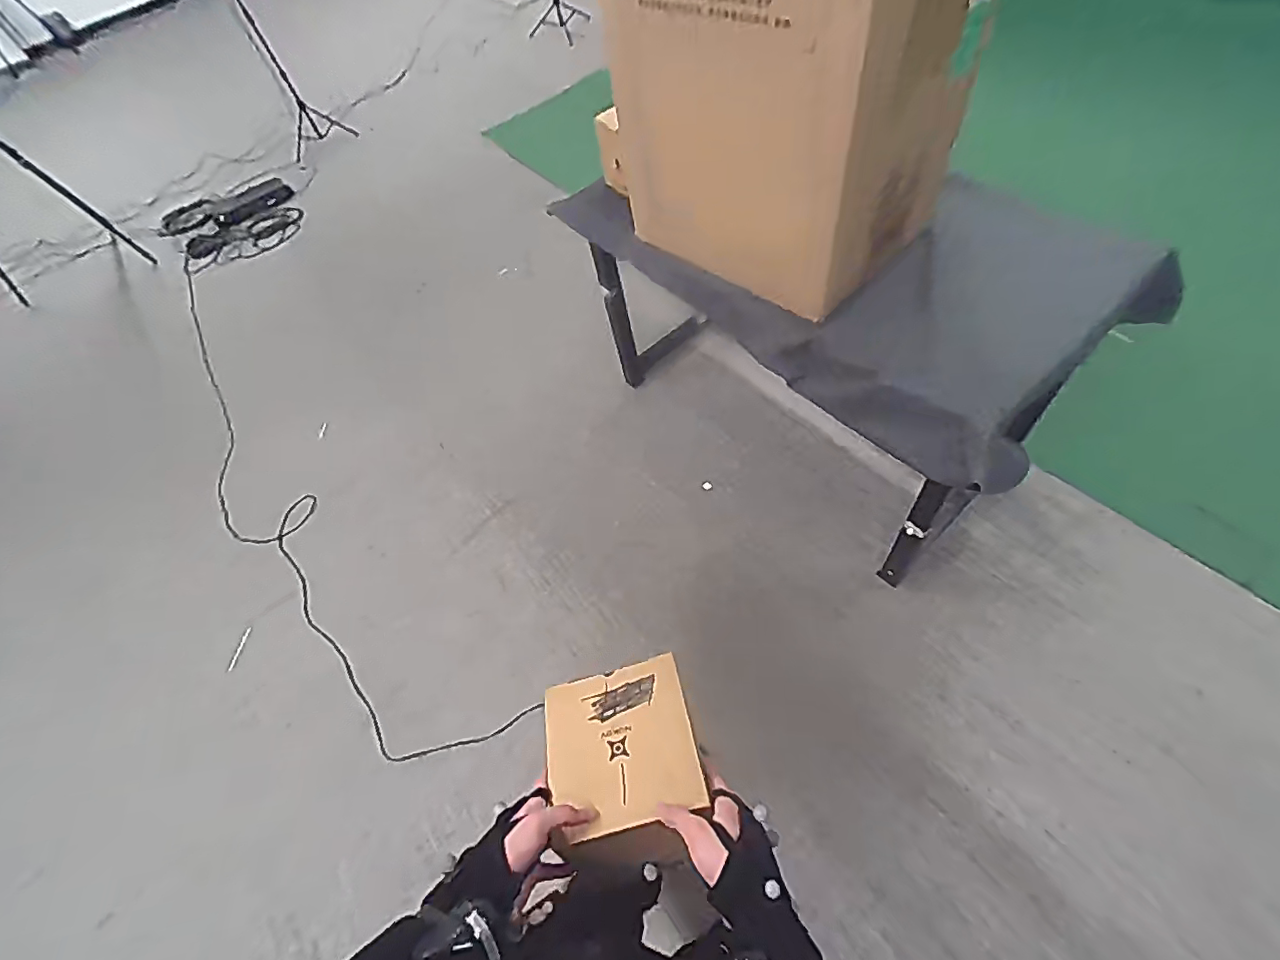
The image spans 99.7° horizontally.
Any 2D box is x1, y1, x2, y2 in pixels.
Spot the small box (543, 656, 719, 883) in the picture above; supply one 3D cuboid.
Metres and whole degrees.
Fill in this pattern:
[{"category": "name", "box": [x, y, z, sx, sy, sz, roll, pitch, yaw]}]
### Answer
[{"category": "small box", "box": [-0.011, 0.352, 0.658, 0.168, 0.176, 0.179, -17, 41, 2]}]
